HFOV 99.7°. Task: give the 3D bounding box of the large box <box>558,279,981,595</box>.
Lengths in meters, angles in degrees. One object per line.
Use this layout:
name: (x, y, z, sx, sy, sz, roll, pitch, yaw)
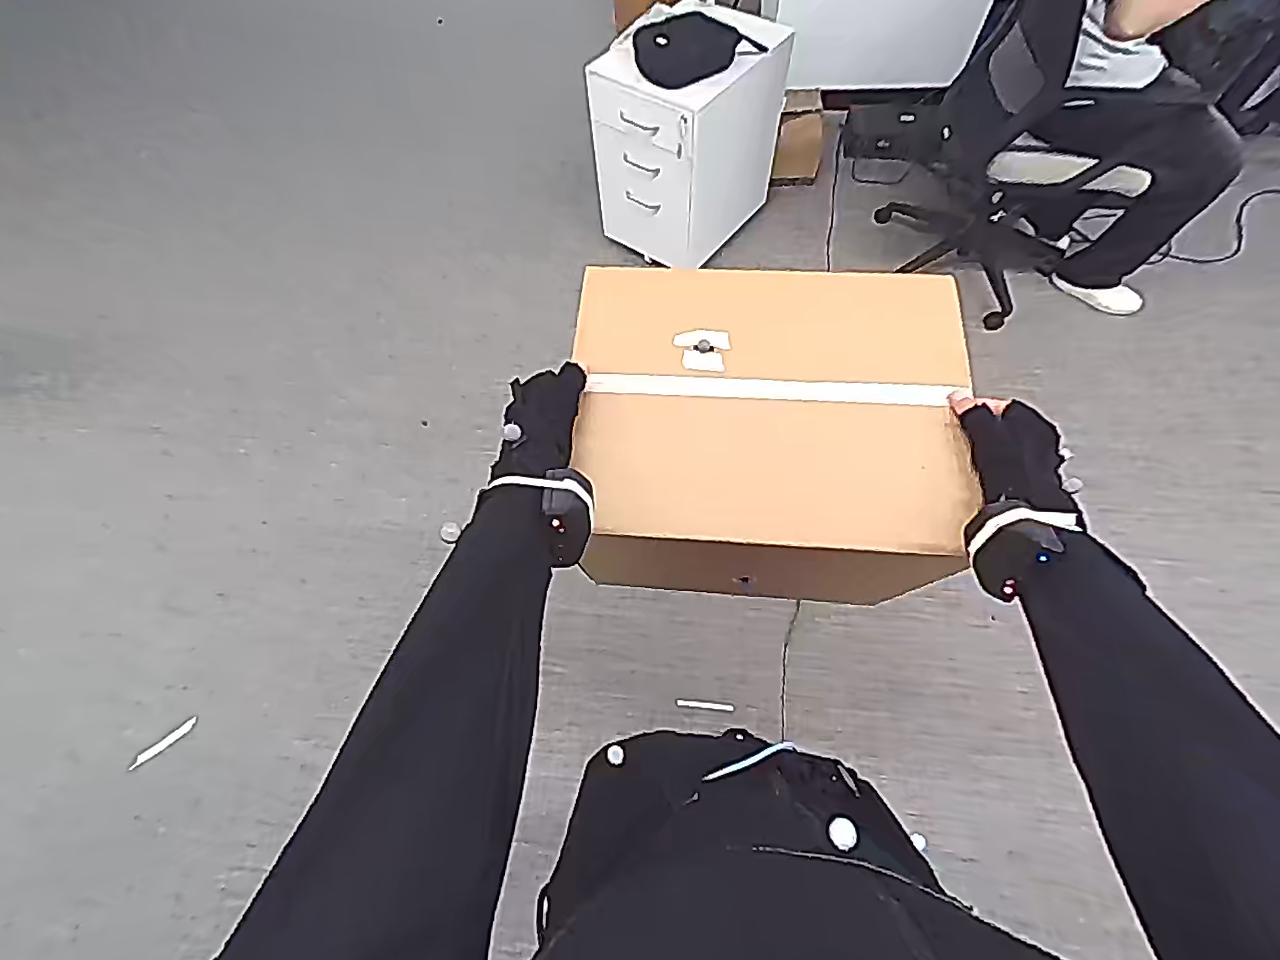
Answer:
large box: (0.140, -0.034, 0.702, 0.408, 0.320, 0.320, 3, 69, 6)
